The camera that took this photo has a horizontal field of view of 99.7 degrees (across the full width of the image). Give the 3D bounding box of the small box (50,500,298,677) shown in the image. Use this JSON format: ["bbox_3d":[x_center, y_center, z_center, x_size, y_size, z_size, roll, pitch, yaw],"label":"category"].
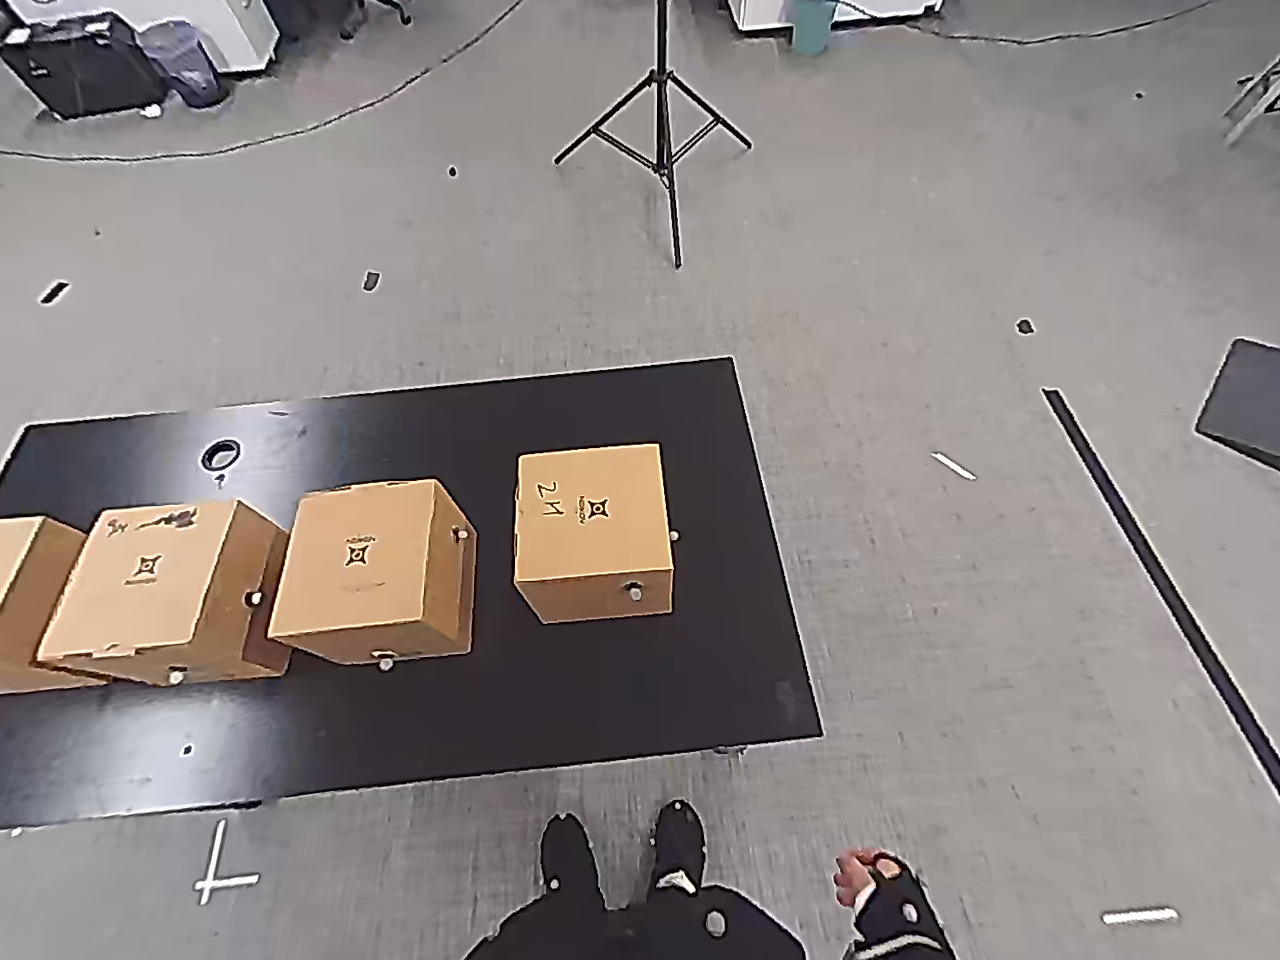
[{"bbox_3d":[-0.548,0.145,0.680,0.168,0.176,0.179,-5,61,-2],"label":"small box"}]

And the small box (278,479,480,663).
[{"bbox_3d":[-0.311,0.121,0.687,0.168,0.176,0.179,-7,62,0],"label":"small box"}]

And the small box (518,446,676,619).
[{"bbox_3d":[-0.050,0.074,0.700,0.179,0.176,0.168,-5,60,0],"label":"small box"}]

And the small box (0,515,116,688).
[{"bbox_3d":[-0.779,0.159,0.679,0.179,0.176,0.168,-5,61,-2],"label":"small box"}]
